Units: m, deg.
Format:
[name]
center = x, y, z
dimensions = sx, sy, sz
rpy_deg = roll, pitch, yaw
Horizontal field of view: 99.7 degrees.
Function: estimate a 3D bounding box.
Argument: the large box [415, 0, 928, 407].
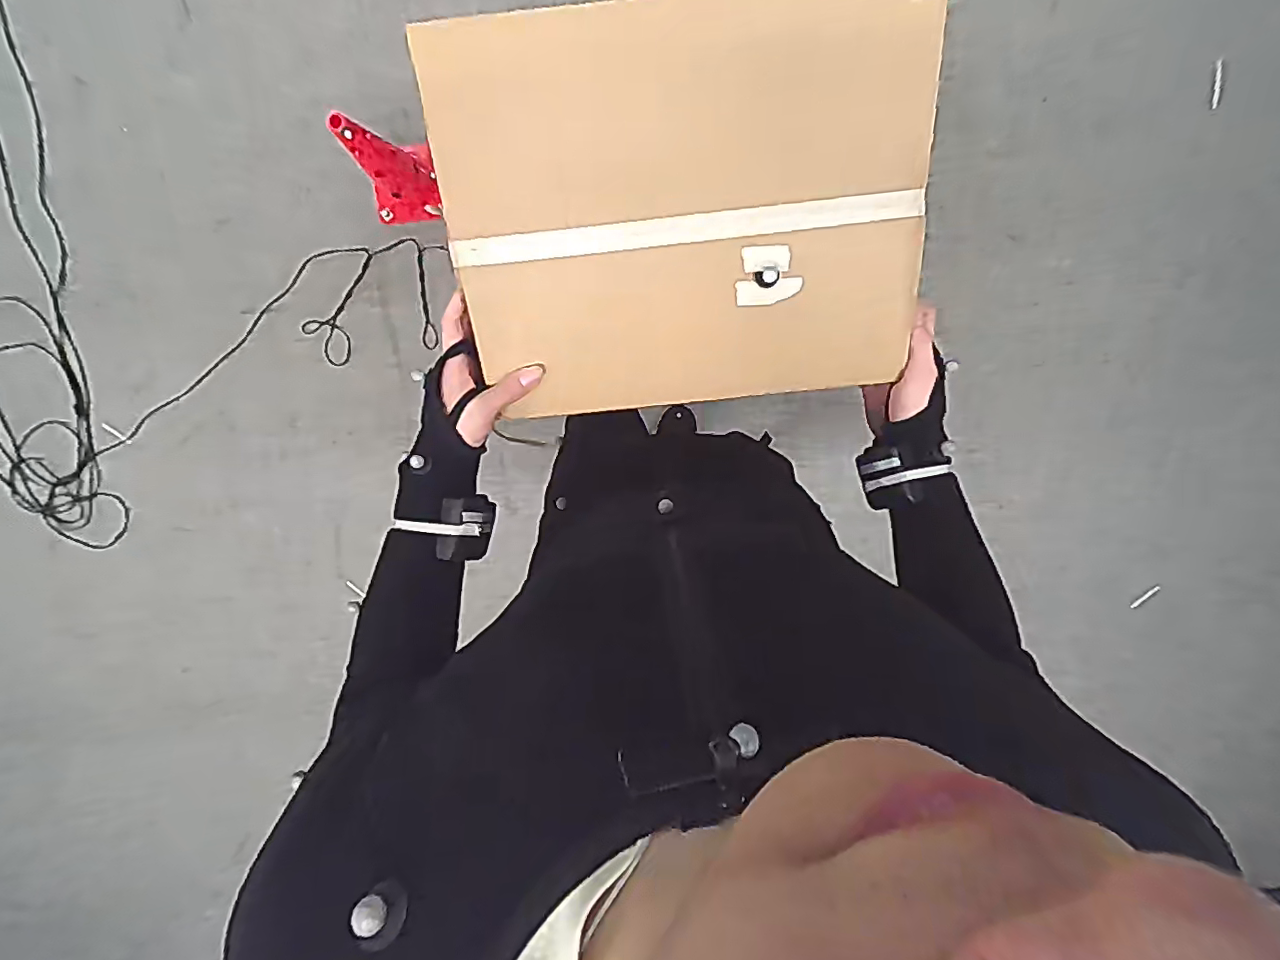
[large box]
center = 0.032, -0.294, 0.605
dimensions = 0.408, 0.320, 0.320
rpy_deg = -6, 116, 0
